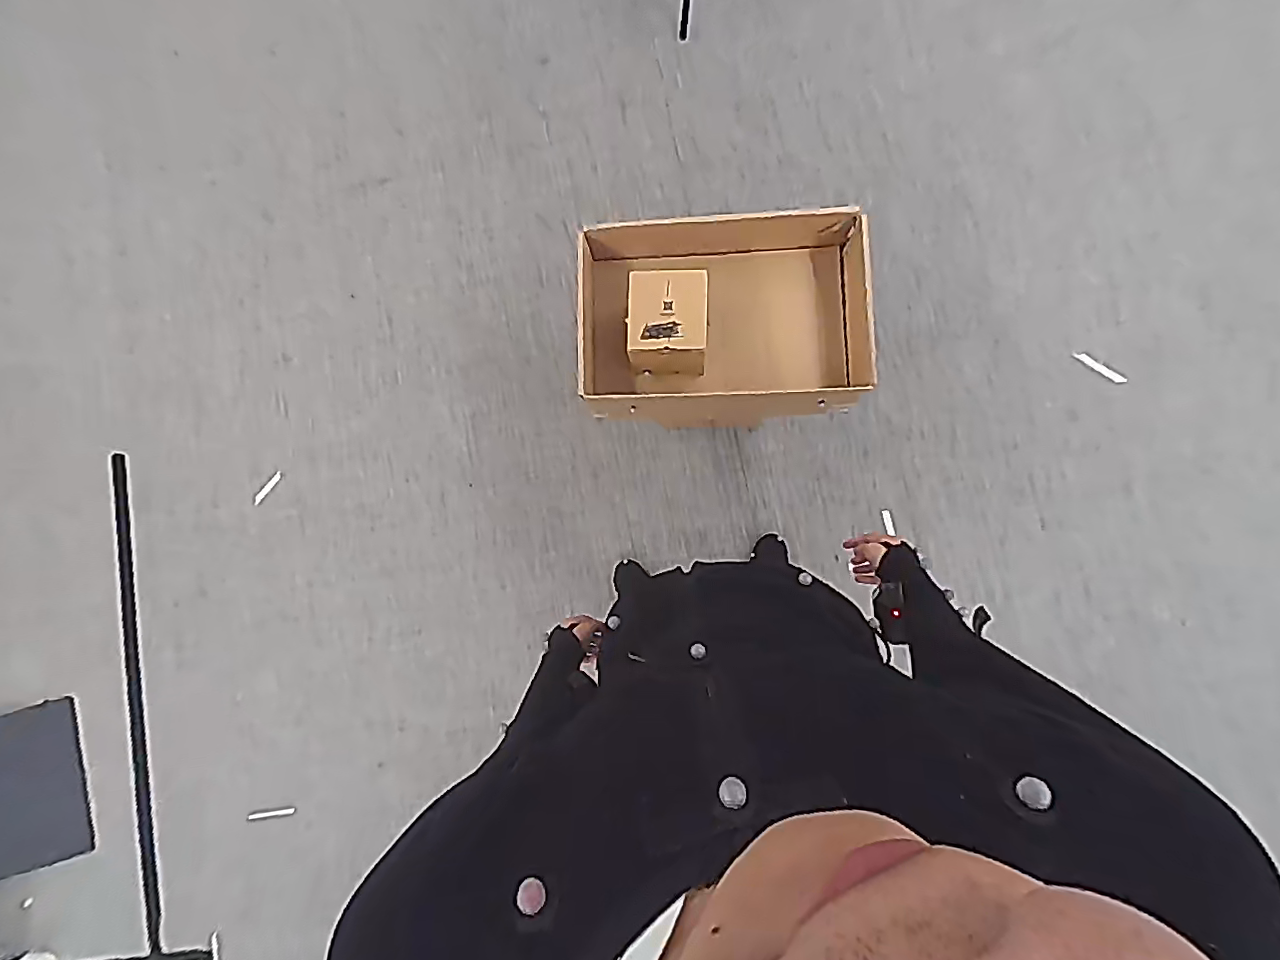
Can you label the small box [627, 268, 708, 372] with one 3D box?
[{"bbox_3d":[0.064,-0.346,1.195,0.168,0.176,0.179,1,83,5],"label":"small box"}]
